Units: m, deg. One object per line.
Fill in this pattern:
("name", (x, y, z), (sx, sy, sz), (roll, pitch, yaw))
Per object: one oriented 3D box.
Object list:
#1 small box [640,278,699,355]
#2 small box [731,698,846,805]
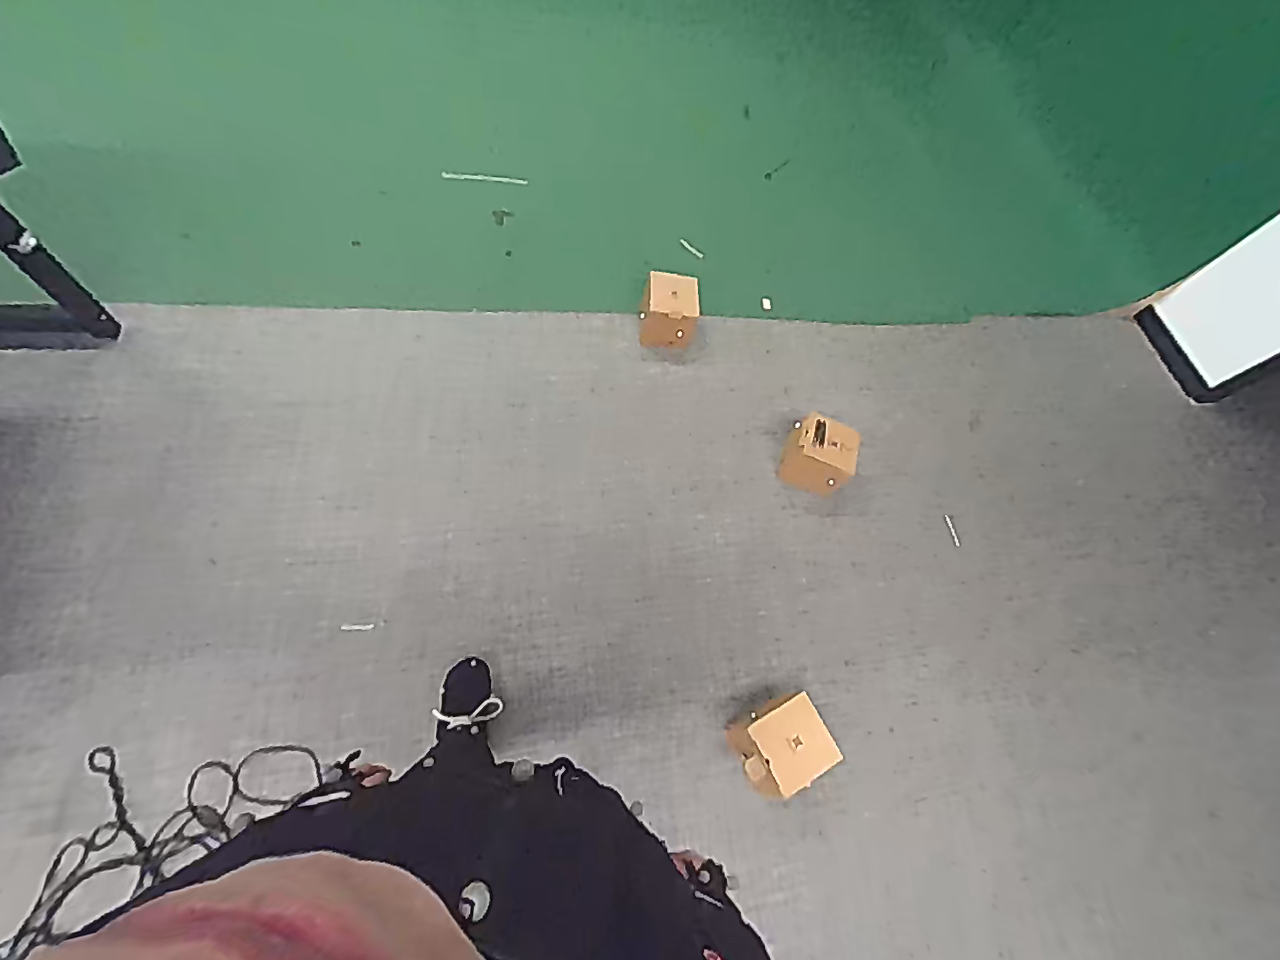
("small box", (0.096, -0.551, 1.841), (0.168, 0.176, 0.179), (5, 63, -11))
("small box", (0.348, 0.647, 1.302), (0.179, 0.176, 0.168), (-23, 71, -20))
